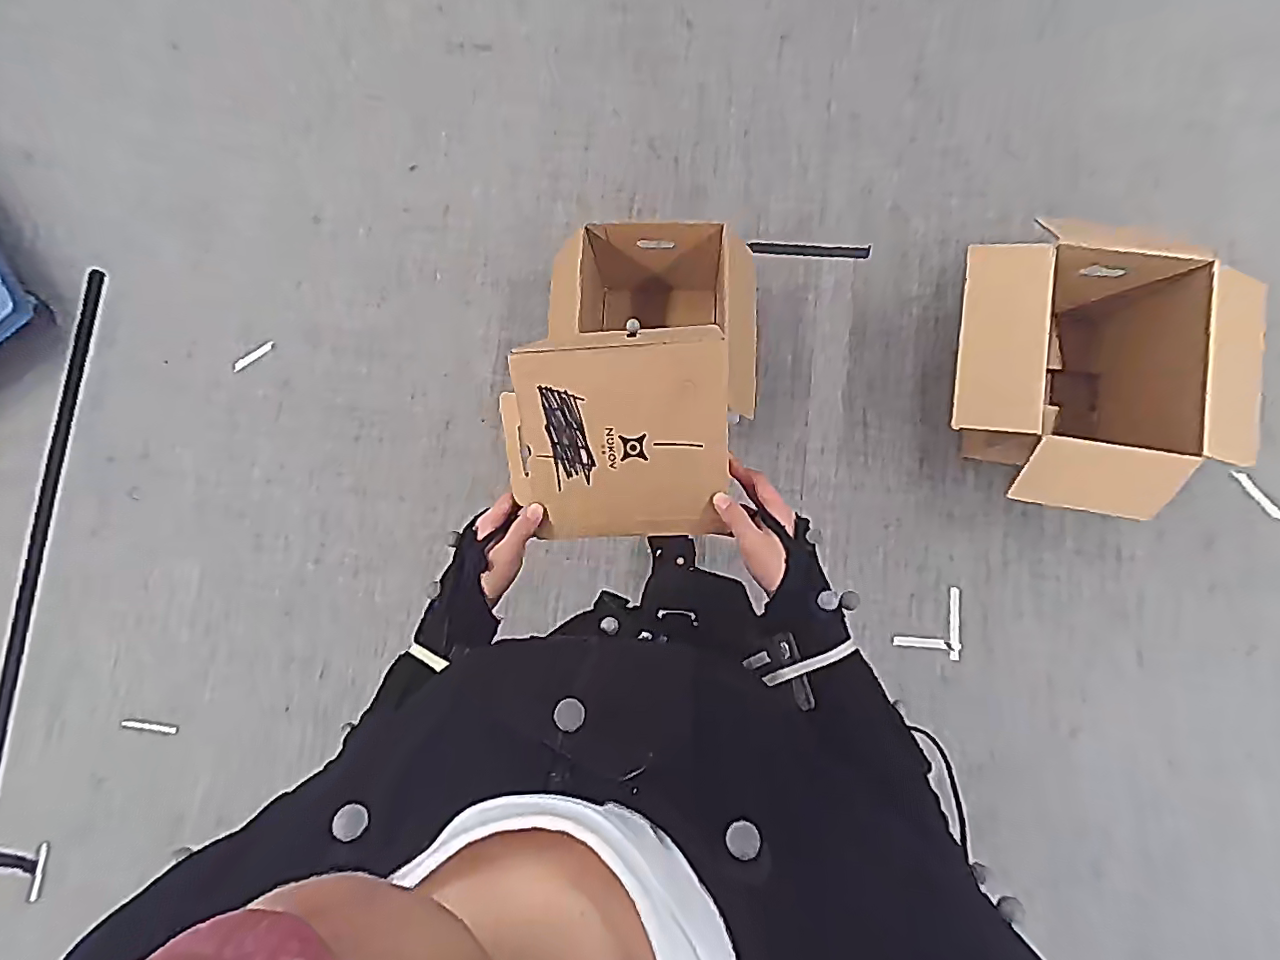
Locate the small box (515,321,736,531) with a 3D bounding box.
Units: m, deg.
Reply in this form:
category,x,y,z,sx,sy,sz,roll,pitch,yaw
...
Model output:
category,x,y,z,sx,sy,sz,roll,pitch,yaw
small box,-0.002,-0.060,0.518,0.179,0.176,0.168,-2,110,5
